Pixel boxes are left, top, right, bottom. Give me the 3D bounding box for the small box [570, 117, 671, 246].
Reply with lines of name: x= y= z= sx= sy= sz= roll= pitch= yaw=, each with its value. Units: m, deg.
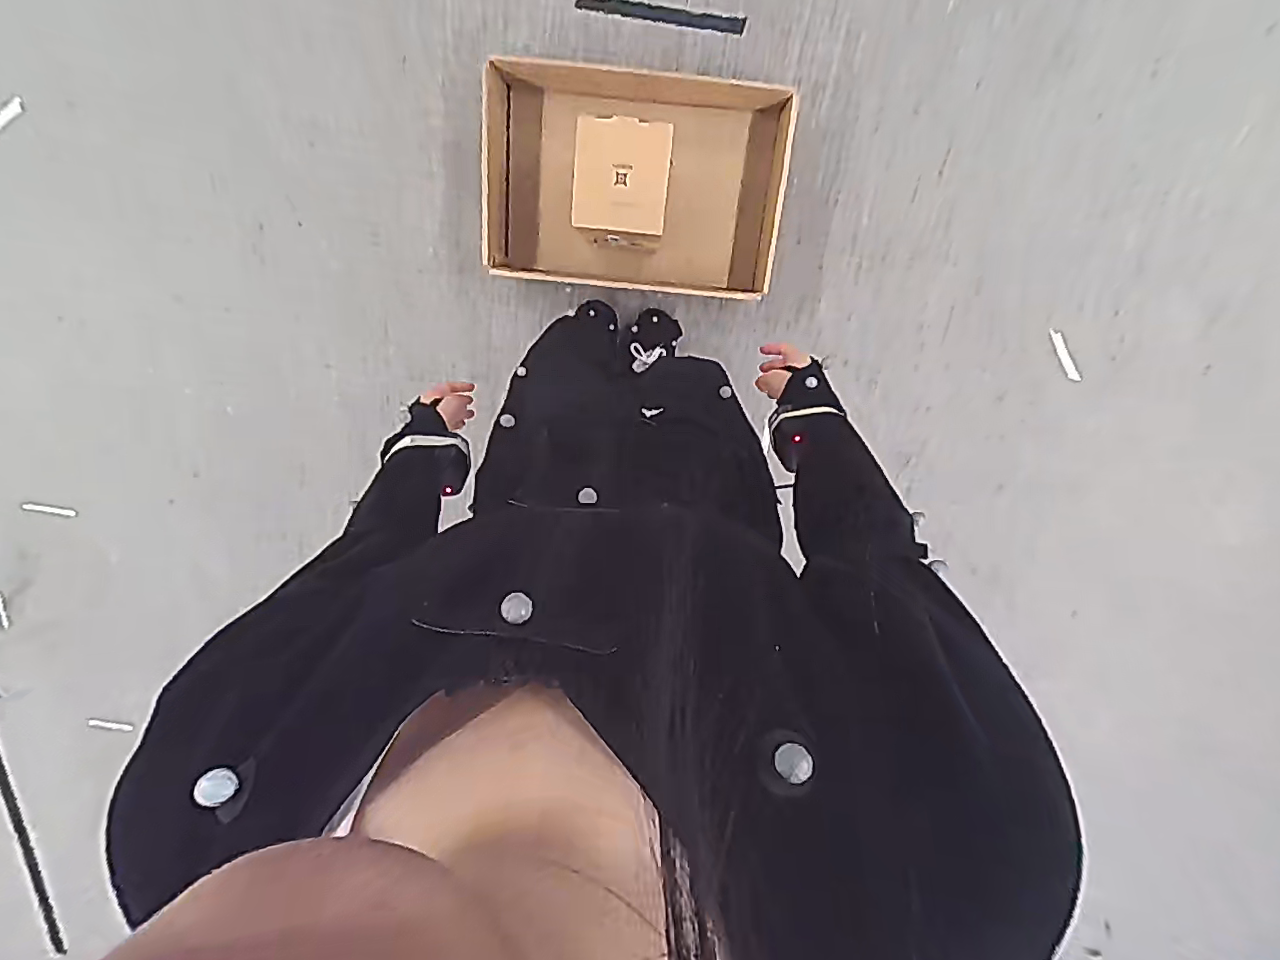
small box: x=-0.036 y=-0.550 z=1.016 sx=0.168 sy=0.176 sz=0.179 roll=5 pitch=109 yaw=0
